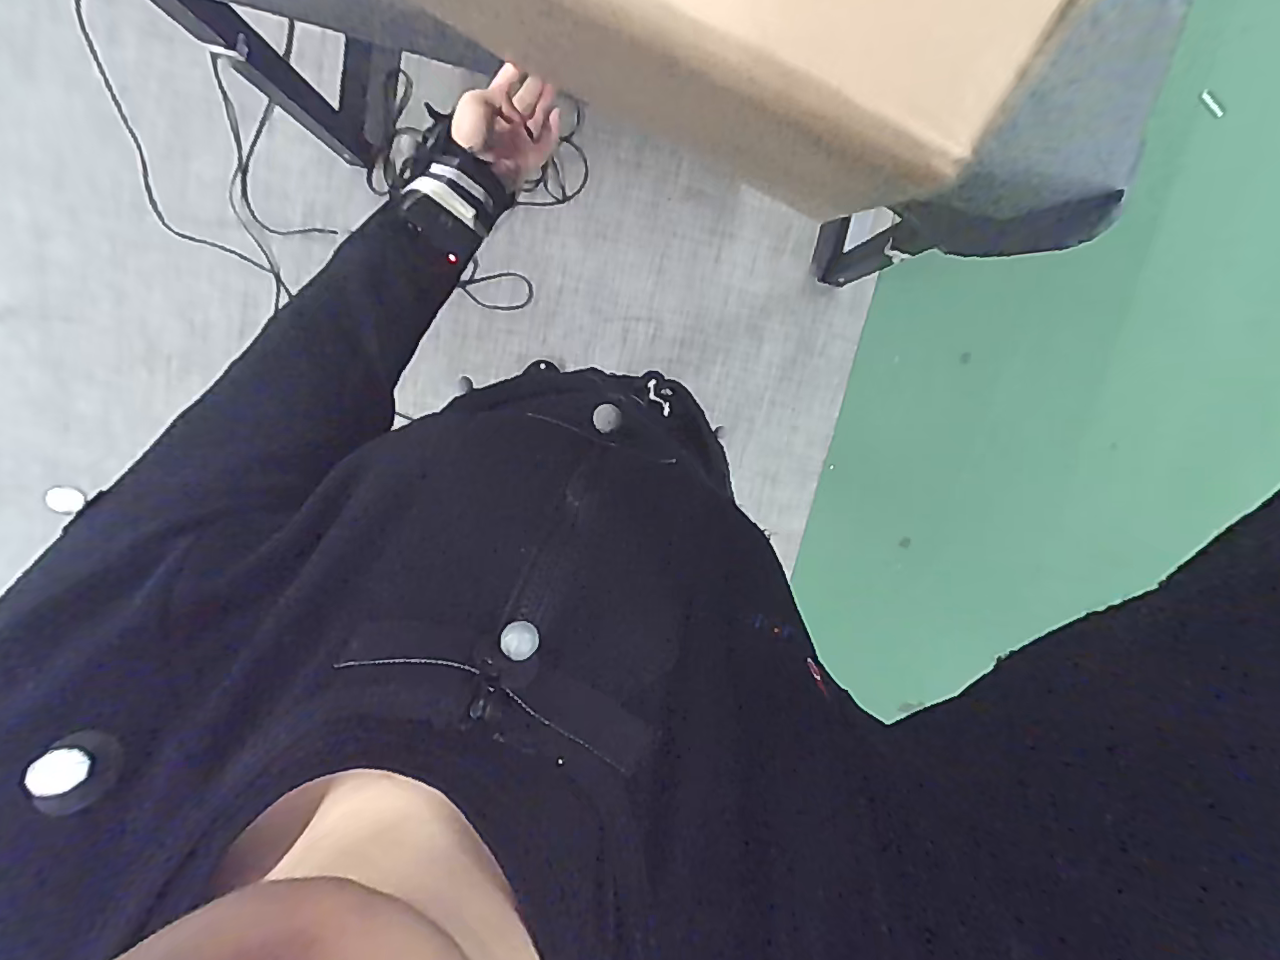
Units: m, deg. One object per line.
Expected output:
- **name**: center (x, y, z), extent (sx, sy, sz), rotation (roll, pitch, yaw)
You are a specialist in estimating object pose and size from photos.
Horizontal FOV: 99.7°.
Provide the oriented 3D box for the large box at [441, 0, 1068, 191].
- **large box**: center (0.042, -0.356, 0.241), extent (0.320, 0.408, 0.320), rotation (26, 118, -1)
